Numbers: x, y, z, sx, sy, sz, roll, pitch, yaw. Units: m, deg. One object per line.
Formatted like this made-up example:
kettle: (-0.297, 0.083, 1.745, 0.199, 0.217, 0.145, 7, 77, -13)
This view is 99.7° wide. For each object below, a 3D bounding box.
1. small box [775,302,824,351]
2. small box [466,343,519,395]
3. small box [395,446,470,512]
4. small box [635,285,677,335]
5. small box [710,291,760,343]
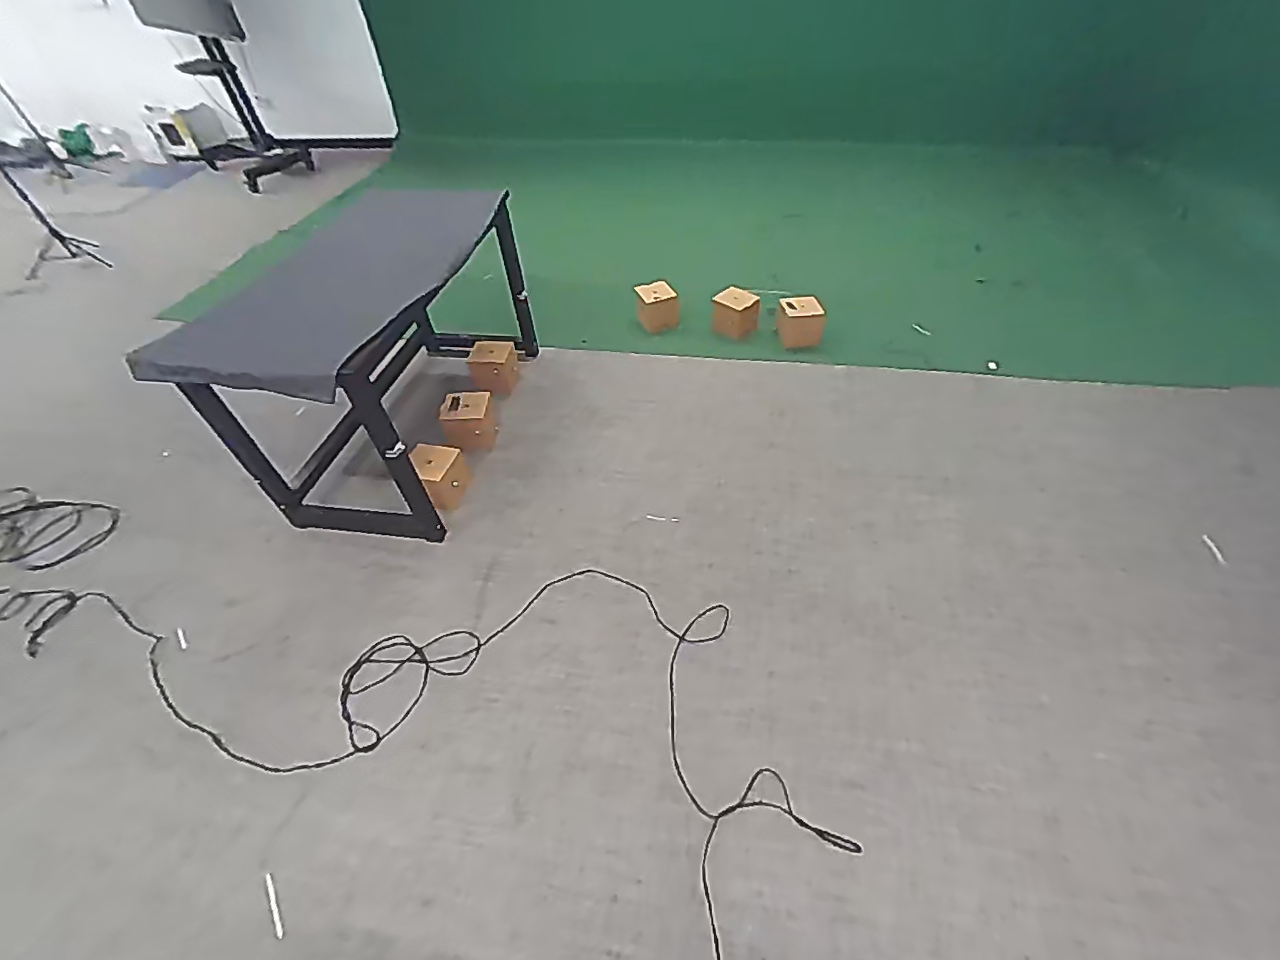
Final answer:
small box: (0.752, -0.727, 2.574, 0.179, 0.176, 0.168, -6, 47, -3)
small box: (-0.655, -0.497, 2.432, 0.179, 0.176, 0.168, 2, 47, 5)
small box: (-0.749, 0.000, 1.978, 0.179, 0.176, 0.168, 8, 48, 11)
small box: (0.079, -0.859, 2.735, 0.168, 0.176, 0.179, -18, 48, -13)
small box: (0.463, -0.795, 2.654, 0.179, 0.176, 0.168, 34, 56, 30)
